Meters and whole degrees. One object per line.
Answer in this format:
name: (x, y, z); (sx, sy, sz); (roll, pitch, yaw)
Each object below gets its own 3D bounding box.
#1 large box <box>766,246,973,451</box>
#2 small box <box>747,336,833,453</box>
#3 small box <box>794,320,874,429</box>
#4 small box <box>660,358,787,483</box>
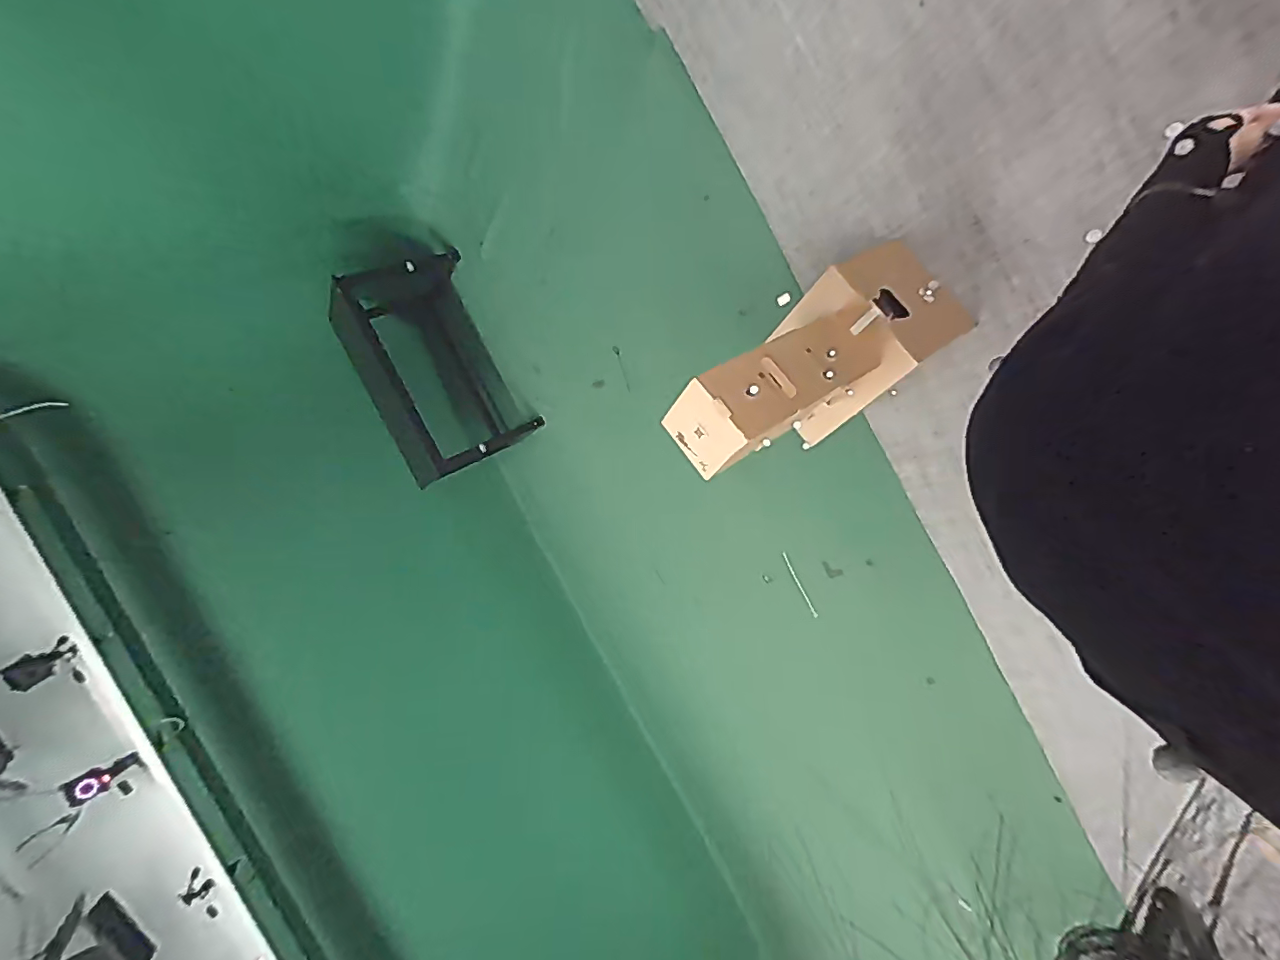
large box: (0.583, -0.351, 1.473); (0.320, 0.320, 0.408); (55, 149, 11)
small box: (0.304, -0.195, 1.217); (0.168, 0.176, 0.179); (54, 147, 10)
small box: (0.425, -0.258, 1.307); (0.179, 0.176, 0.168); (55, 147, 10)
small box: (0.180, -0.128, 1.131); (0.168, 0.176, 0.179); (55, 146, 10)
